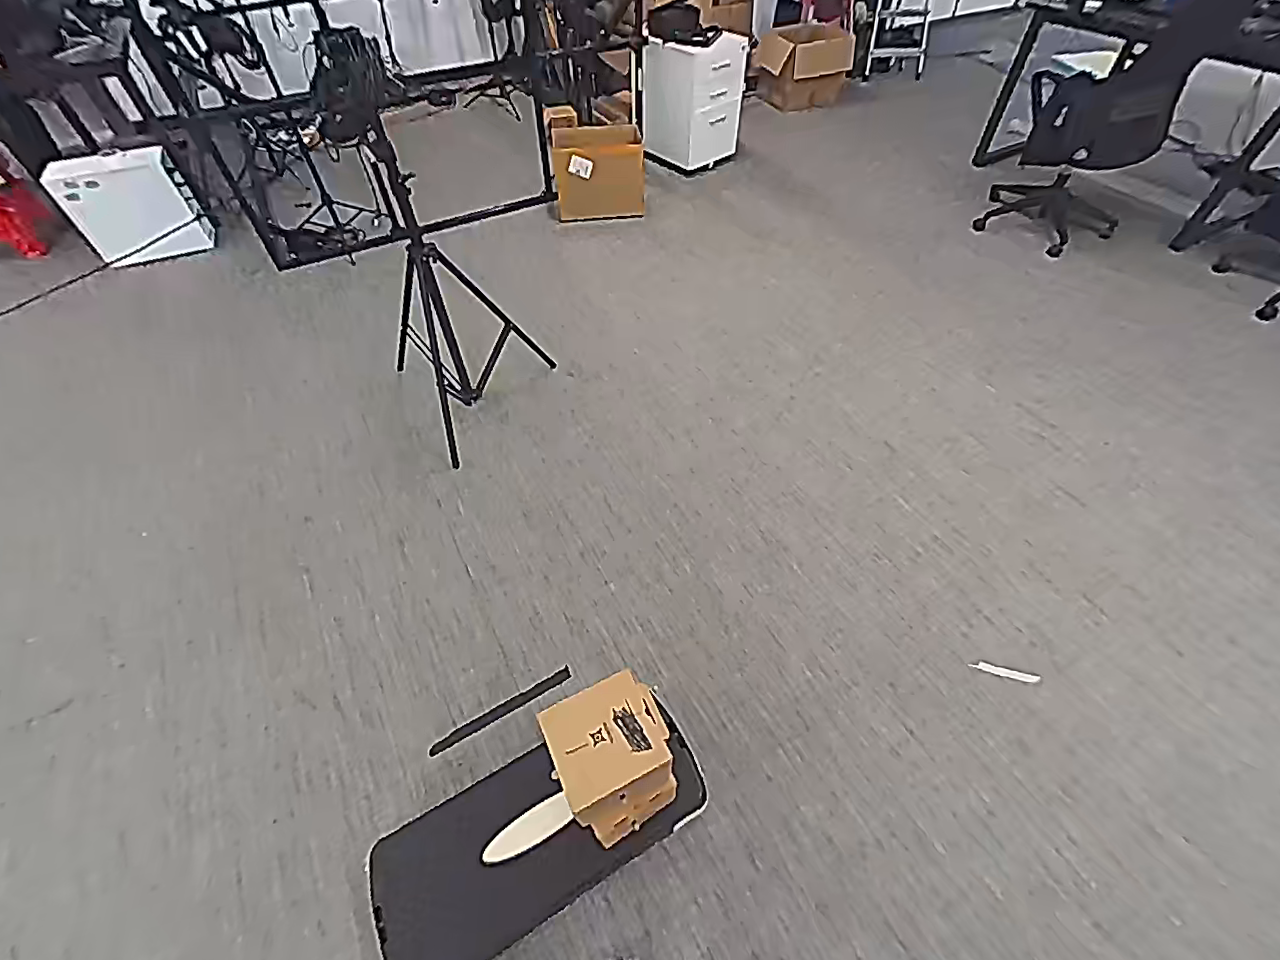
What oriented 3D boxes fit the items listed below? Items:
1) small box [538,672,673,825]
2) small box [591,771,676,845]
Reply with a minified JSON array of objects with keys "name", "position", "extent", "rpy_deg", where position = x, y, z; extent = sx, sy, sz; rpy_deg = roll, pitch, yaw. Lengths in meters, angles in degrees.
[{"name":"small box","position":[-0.059,0.469,0.943],"extent":[0.179,0.176,0.168],"rpy_deg":[-22,54,-15]},{"name":"small box","position":[-0.046,0.581,1.064],"extent":[0.168,0.176,0.179],"rpy_deg":[-26,56,-19]}]
